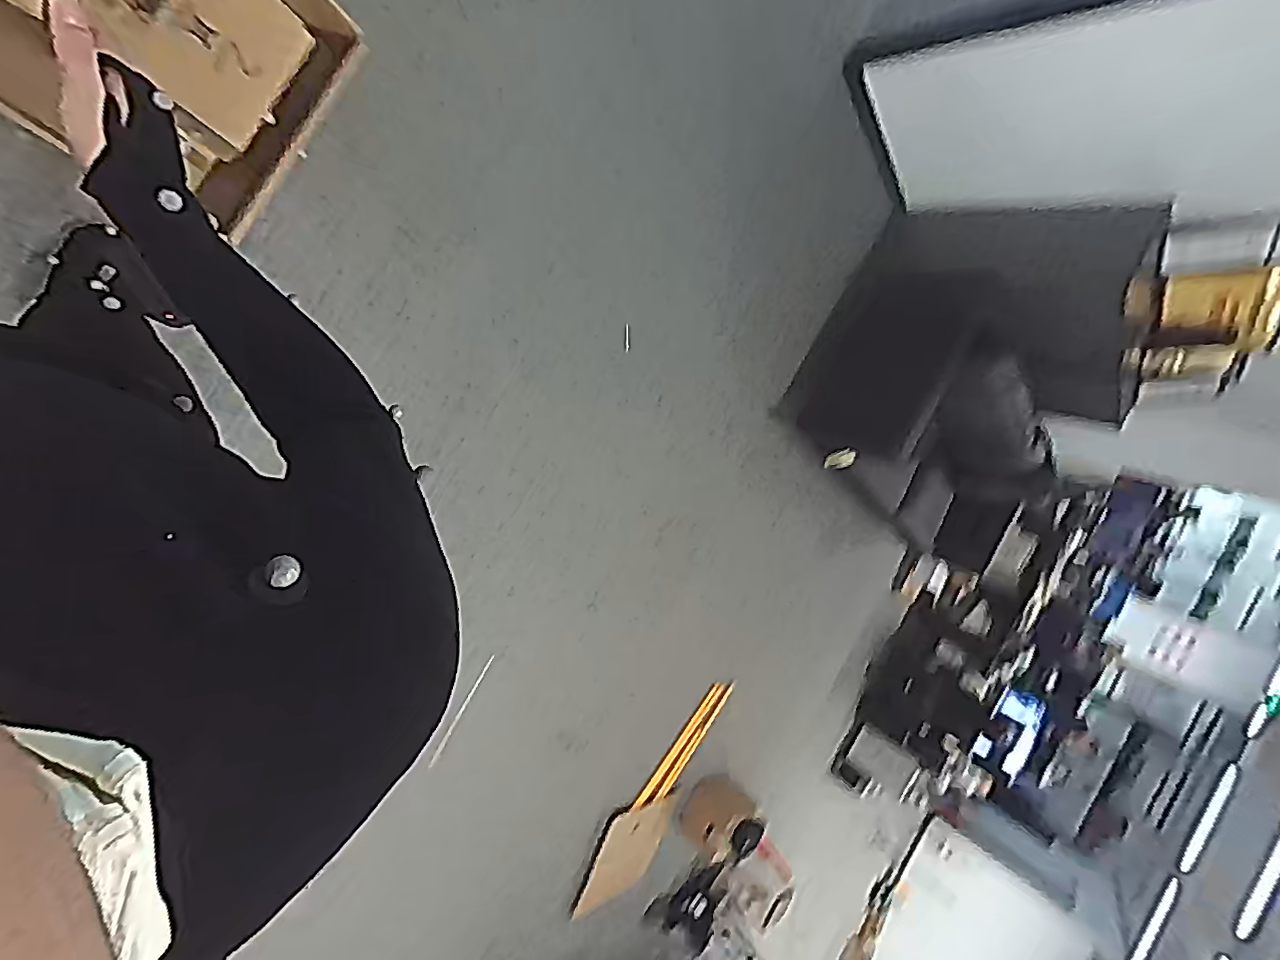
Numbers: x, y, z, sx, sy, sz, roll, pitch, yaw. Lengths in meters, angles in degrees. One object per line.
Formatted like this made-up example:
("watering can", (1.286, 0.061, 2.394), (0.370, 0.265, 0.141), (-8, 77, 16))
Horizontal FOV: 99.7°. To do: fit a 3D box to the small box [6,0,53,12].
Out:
("small box", (-0.465, -0.451, 0.344), (0.168, 0.176, 0.179), (23, 98, -52))
